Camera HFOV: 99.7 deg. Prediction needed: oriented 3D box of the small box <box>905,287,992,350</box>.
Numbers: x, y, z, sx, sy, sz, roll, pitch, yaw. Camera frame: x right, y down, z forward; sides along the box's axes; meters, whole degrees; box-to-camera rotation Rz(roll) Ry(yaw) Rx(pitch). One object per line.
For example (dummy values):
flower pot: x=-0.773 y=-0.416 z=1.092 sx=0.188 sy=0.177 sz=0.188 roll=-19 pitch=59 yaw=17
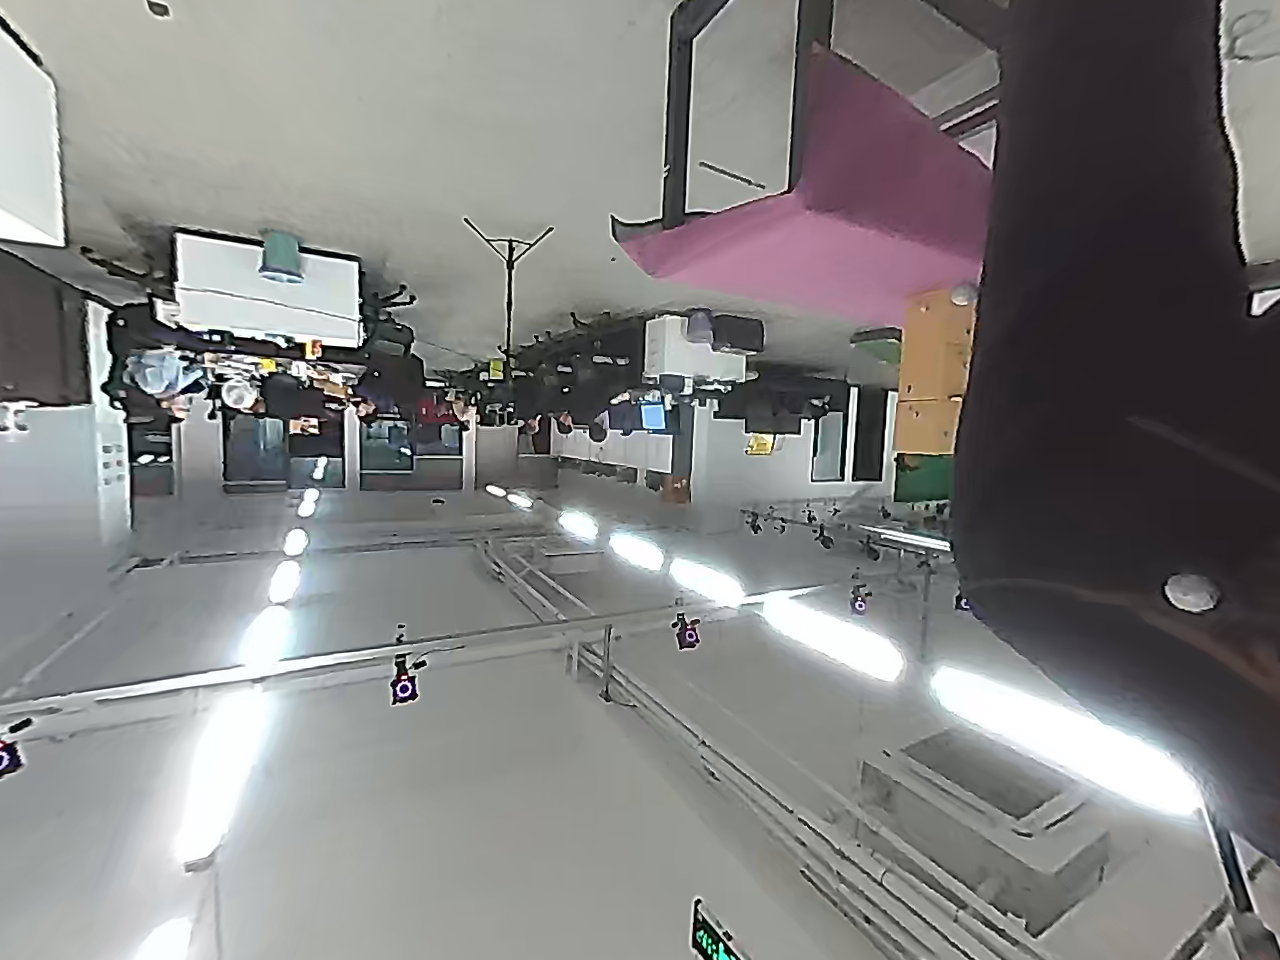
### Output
small box: x=0.966 y=-0.495 z=1.690 sx=0.179 sy=0.176 sz=0.168 roll=1 pitch=-175 yaw=-19

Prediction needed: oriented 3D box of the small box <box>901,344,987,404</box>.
small box: x=0.965 y=-0.332 z=1.713 sx=0.168 sy=0.176 sz=0.179 roll=0 pitch=-175 yaw=-18
